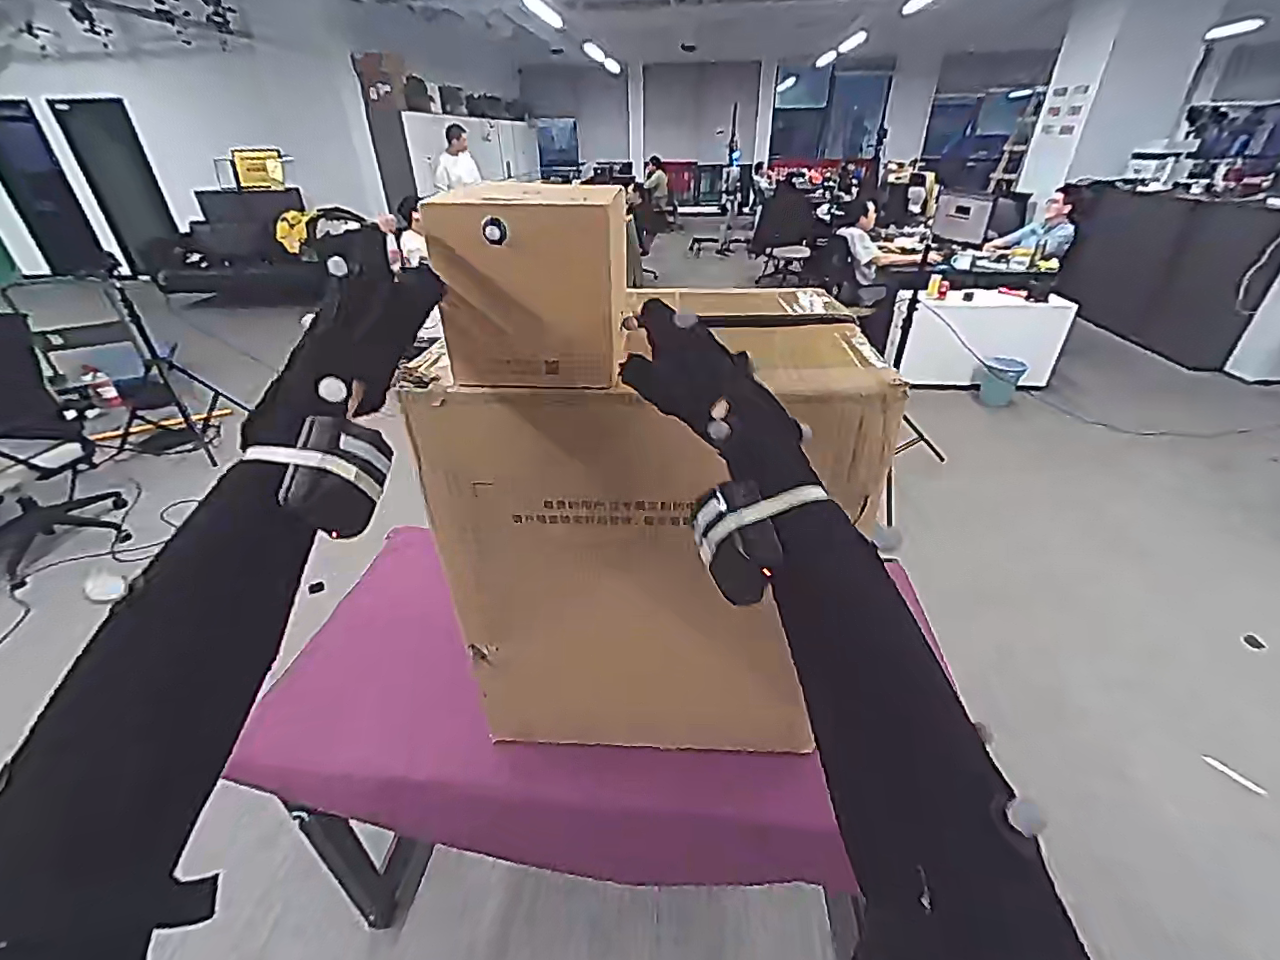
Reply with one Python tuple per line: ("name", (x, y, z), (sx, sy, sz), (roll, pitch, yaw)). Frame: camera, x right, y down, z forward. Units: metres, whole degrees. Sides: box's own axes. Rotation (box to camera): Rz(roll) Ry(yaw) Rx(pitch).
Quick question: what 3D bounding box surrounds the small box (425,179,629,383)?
("small box", (-0.100, -0.213, 0.565), (0.168, 0.176, 0.179), (1, 32, 2))
